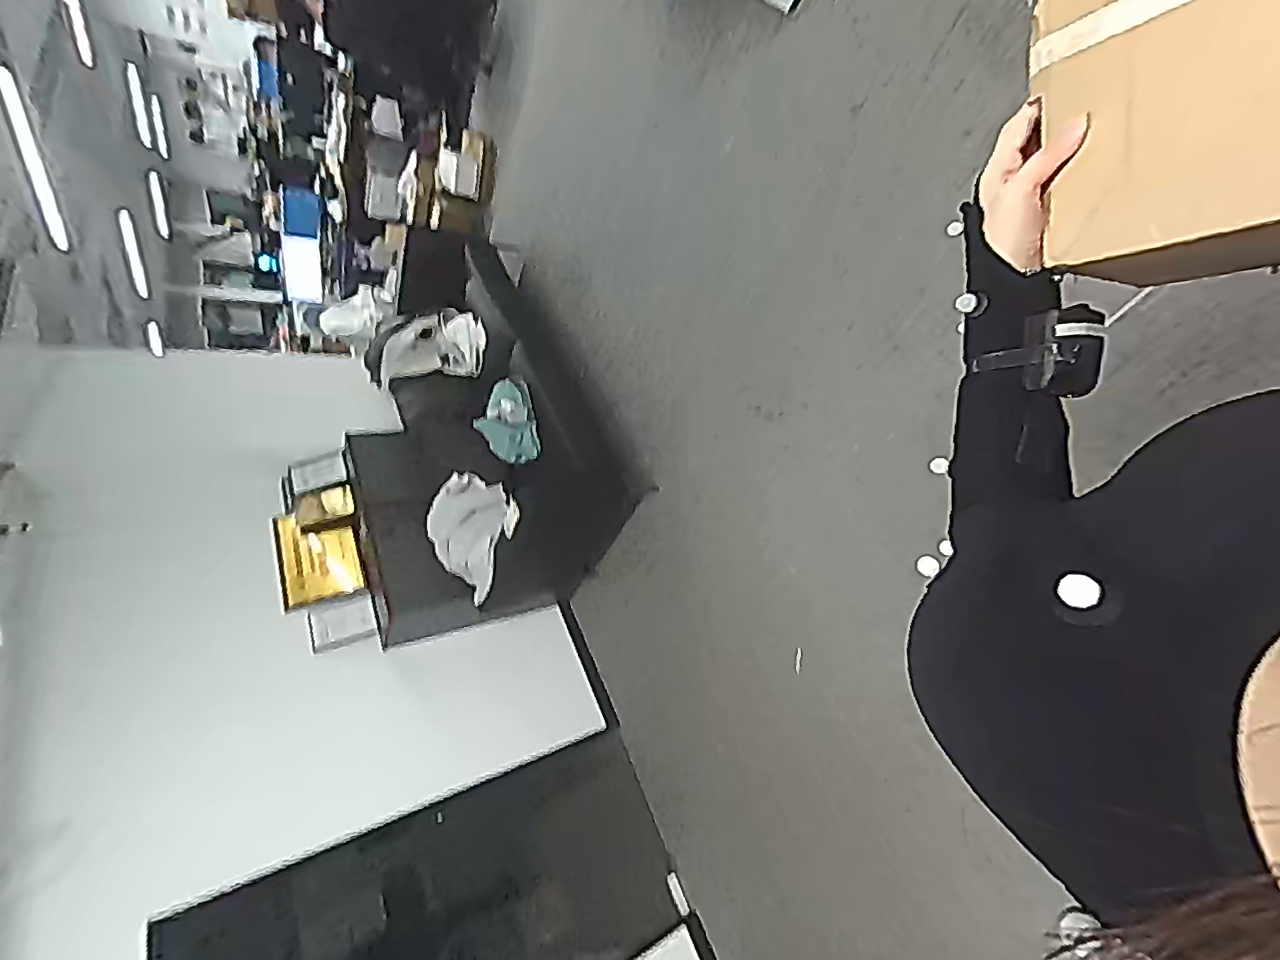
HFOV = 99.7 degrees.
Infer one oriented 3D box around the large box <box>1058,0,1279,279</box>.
[{"bbox_3d":[0.548,-0.343,0.340,0.408,0.320,0.320,4,103,51],"label":"large box"}]
